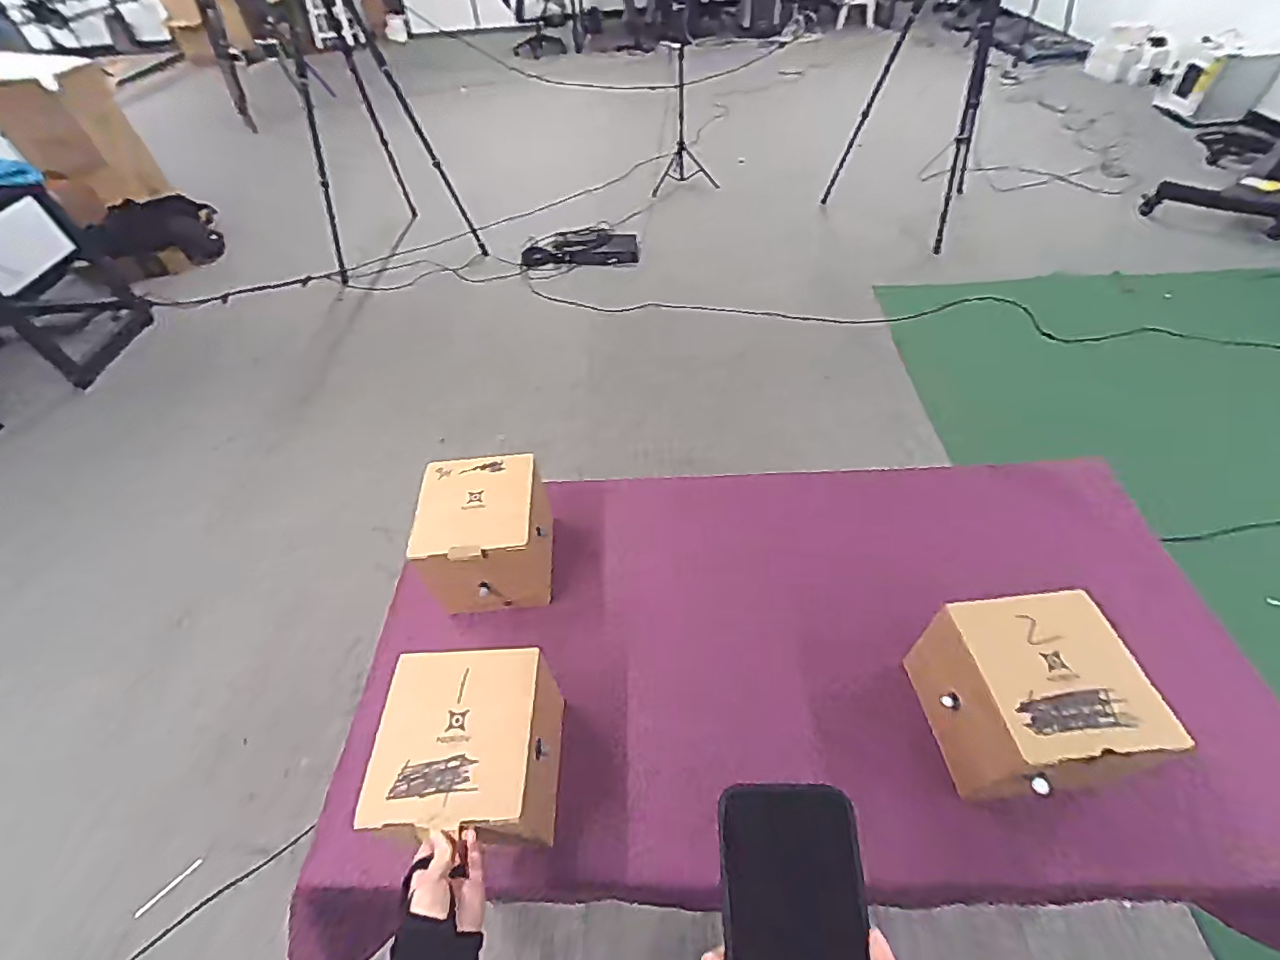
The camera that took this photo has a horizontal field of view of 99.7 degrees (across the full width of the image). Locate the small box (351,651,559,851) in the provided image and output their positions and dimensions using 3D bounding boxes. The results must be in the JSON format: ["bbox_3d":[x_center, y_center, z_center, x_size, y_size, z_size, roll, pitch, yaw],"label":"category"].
[{"bbox_3d":[-0.194,0.320,0.631,0.168,0.176,0.179,-3,47,2],"label":"small box"}]

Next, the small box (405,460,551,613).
[{"bbox_3d":[-0.234,0.093,0.834,0.168,0.176,0.179,-5,50,0],"label":"small box"}]
